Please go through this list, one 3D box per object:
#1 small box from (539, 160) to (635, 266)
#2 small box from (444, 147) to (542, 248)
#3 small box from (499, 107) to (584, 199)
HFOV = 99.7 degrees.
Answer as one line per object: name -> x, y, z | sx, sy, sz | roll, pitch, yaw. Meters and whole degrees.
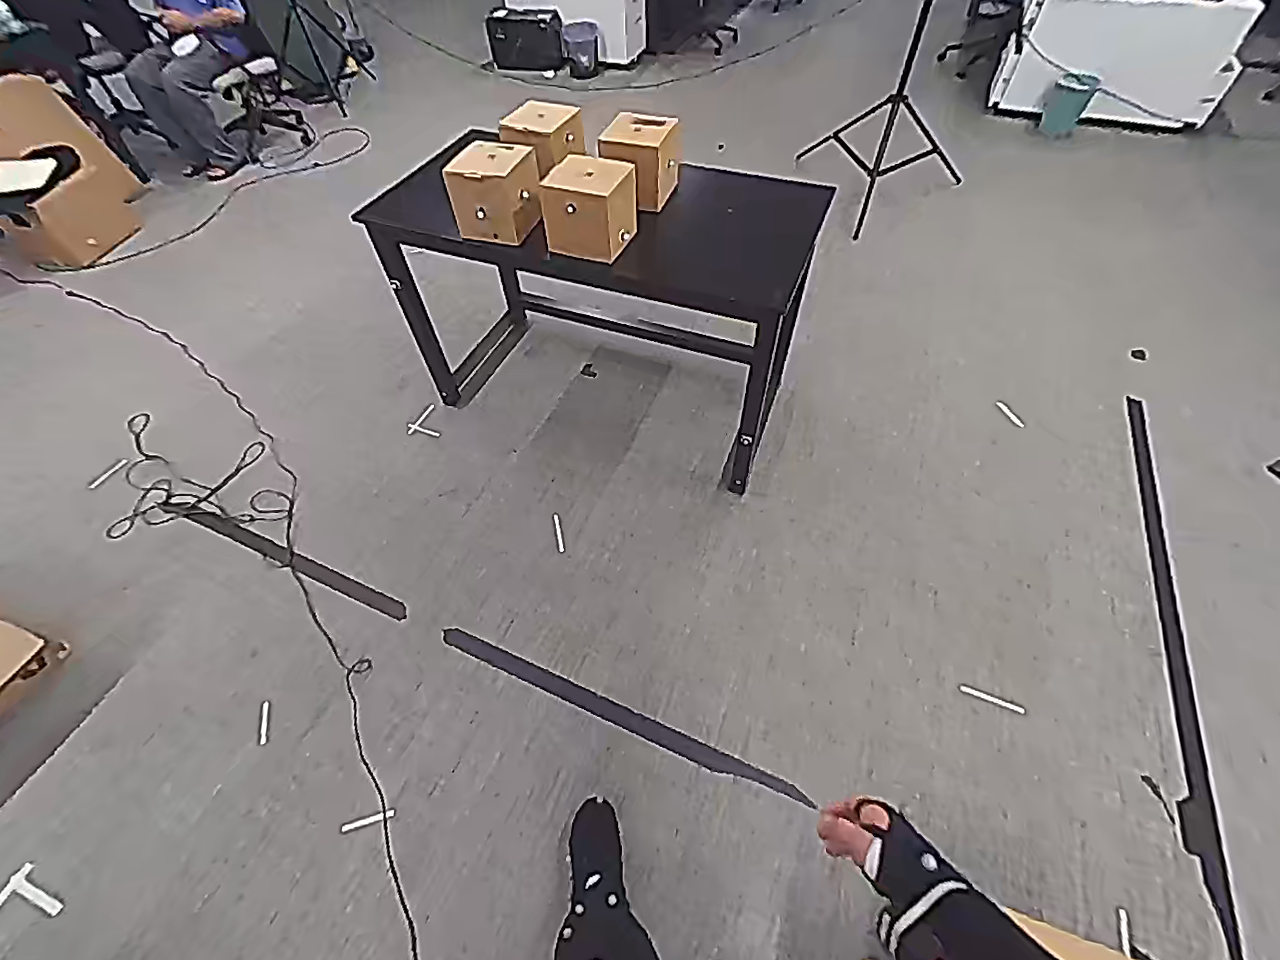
small box -> -0.122, -0.649, 1.319 | 0.179, 0.176, 0.168 | 17, 56, 13
small box -> -0.363, -0.716, 1.377 | 0.168, 0.176, 0.179 | 12, 55, 11
small box -> -0.268, -0.920, 1.529 | 0.168, 0.176, 0.179 | 19, 56, 15
